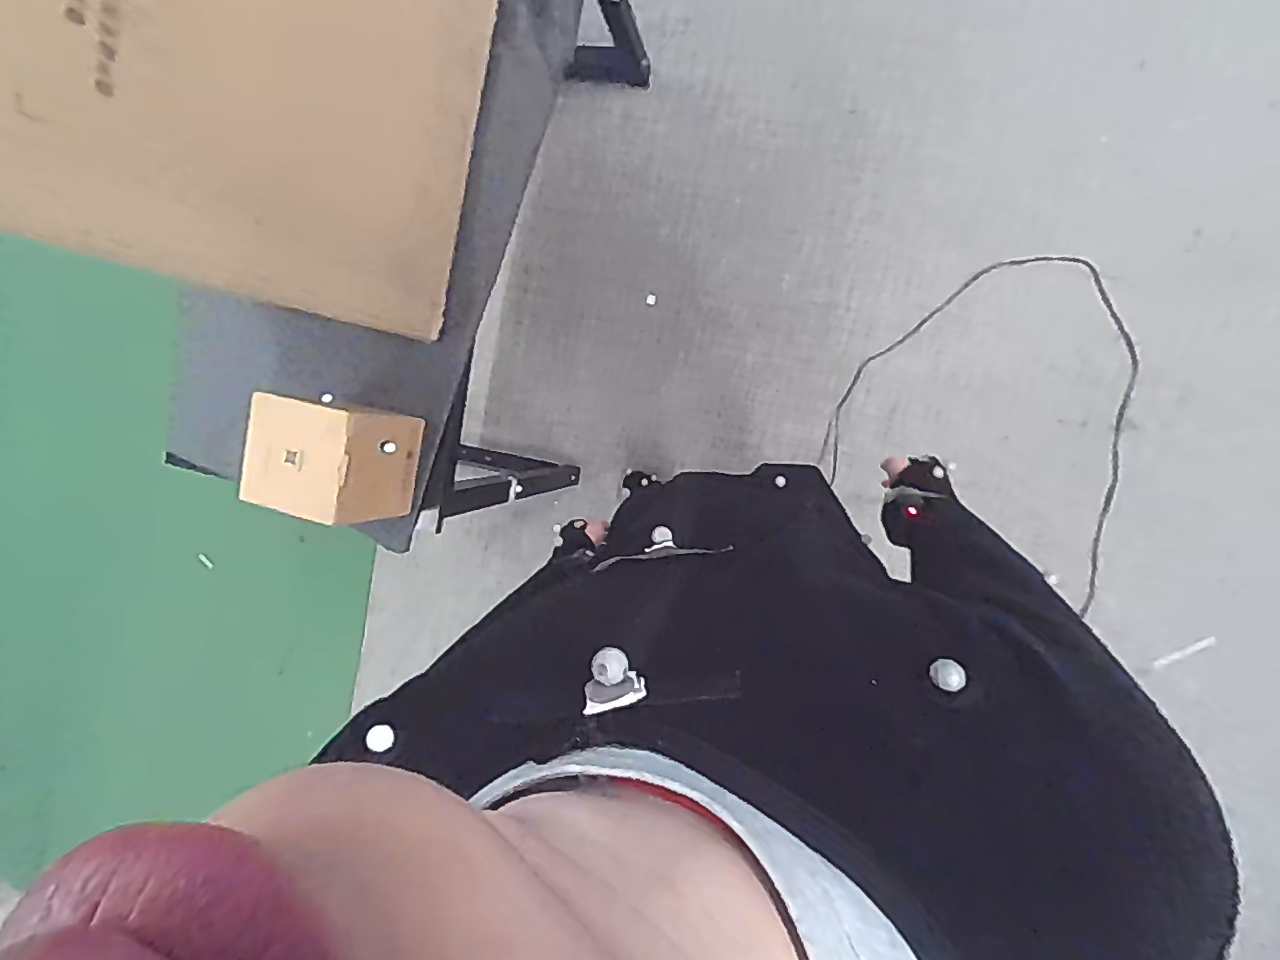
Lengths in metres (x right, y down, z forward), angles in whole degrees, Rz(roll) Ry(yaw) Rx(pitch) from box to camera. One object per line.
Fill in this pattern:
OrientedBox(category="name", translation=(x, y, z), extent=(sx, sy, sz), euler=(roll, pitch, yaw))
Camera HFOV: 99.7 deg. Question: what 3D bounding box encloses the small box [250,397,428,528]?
OrientedBox(category="small box", translation=(-0.466, -0.030, 0.857), extent=(0.179, 0.176, 0.168), euler=(12, 94, 15))
